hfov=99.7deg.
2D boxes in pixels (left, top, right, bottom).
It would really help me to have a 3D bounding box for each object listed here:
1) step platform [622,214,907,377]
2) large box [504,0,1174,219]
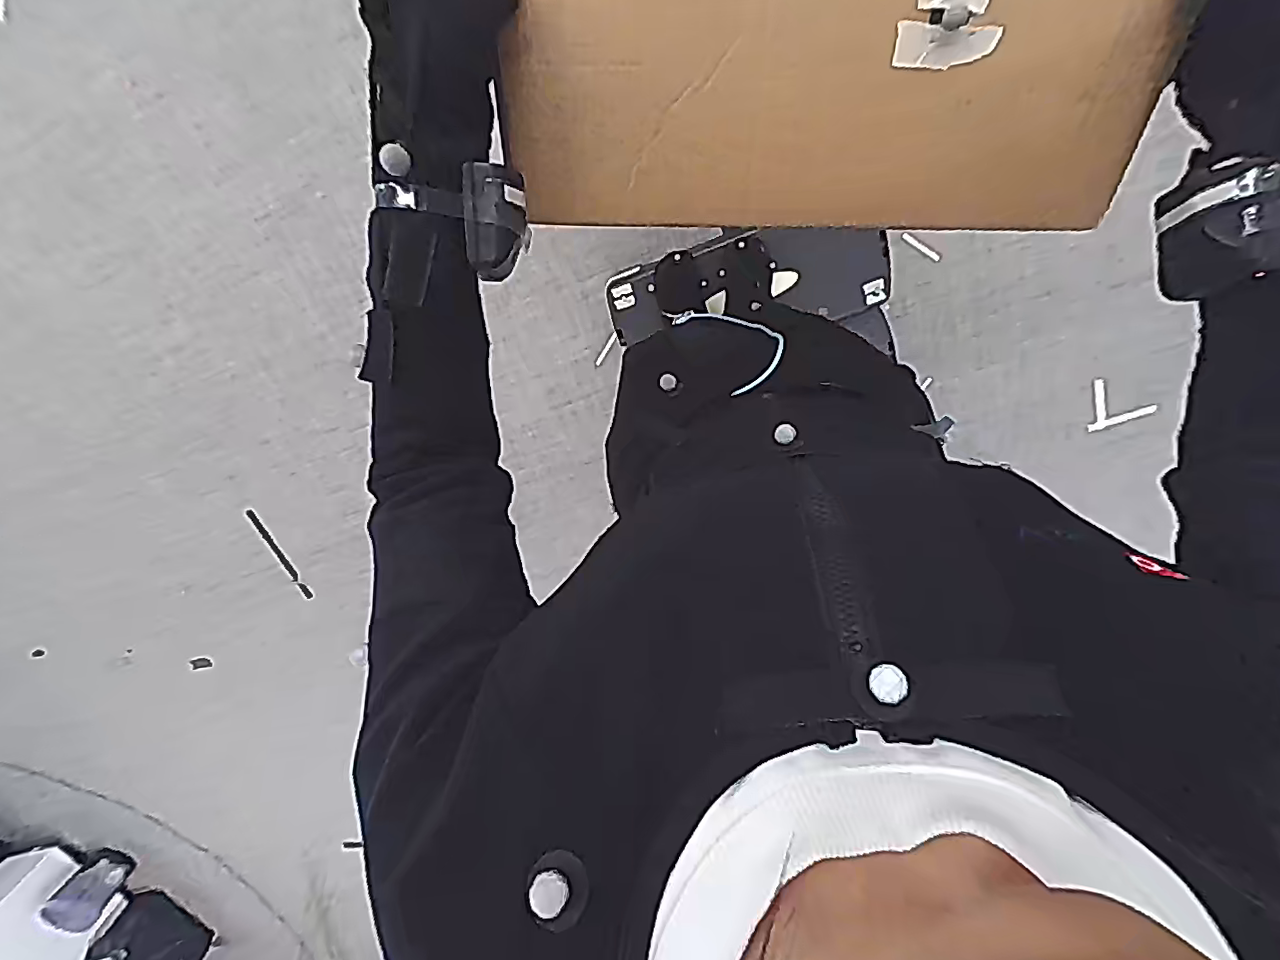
[{"bbox_3d":[0.301,-0.507,1.378,0.684,0.204,0.286,-18,114,12],"label":"step platform"},{"bbox_3d":[0.118,-0.402,0.423,0.408,0.320,0.320,1,126,2],"label":"large box"}]
